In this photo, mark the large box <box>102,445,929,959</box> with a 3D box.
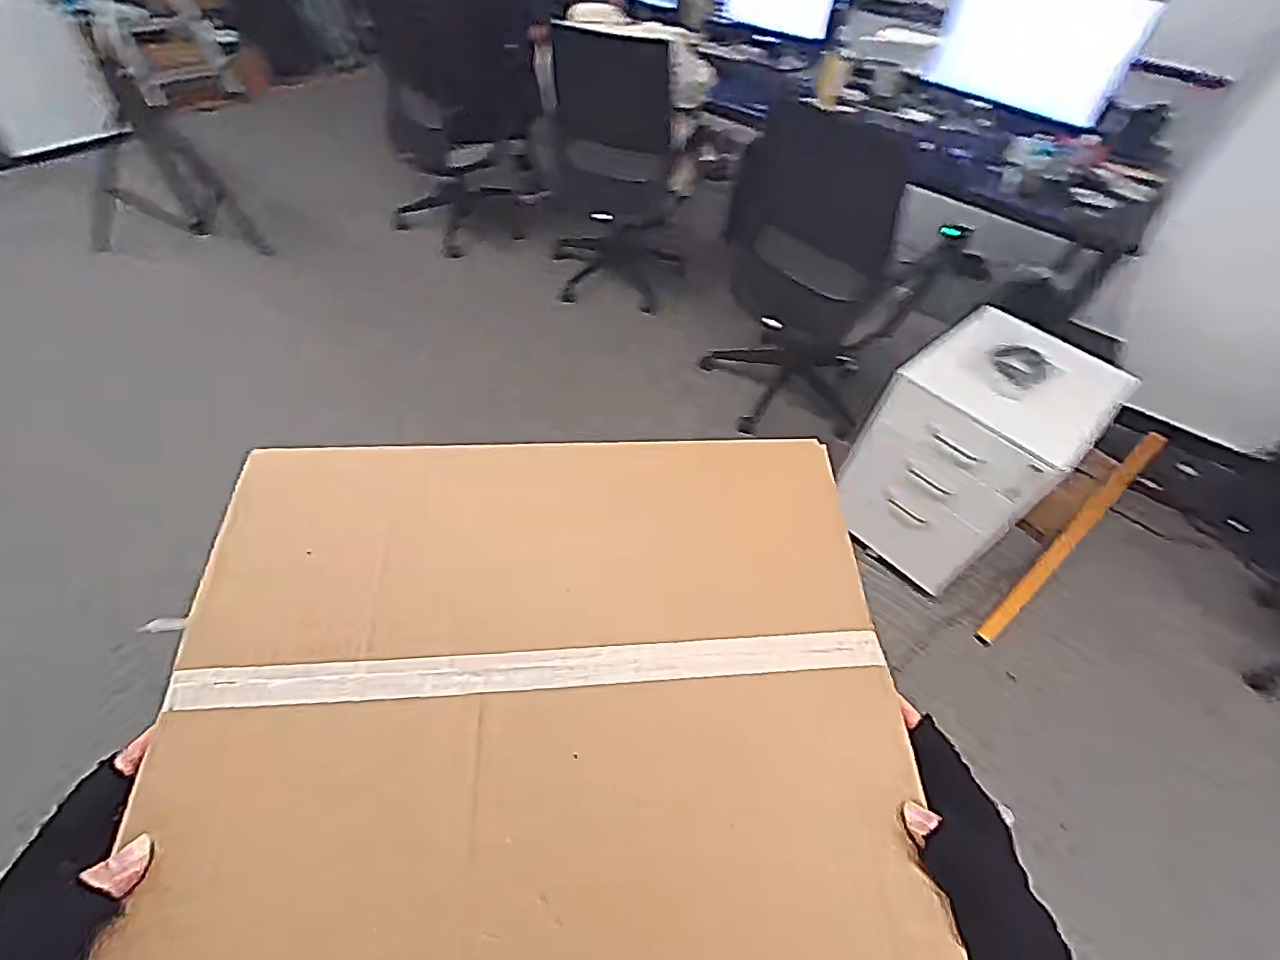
[{"bbox_3d":[-0.070,0.189,0.451,0.408,0.320,0.320,-3,61,-6],"label":"large box"}]
